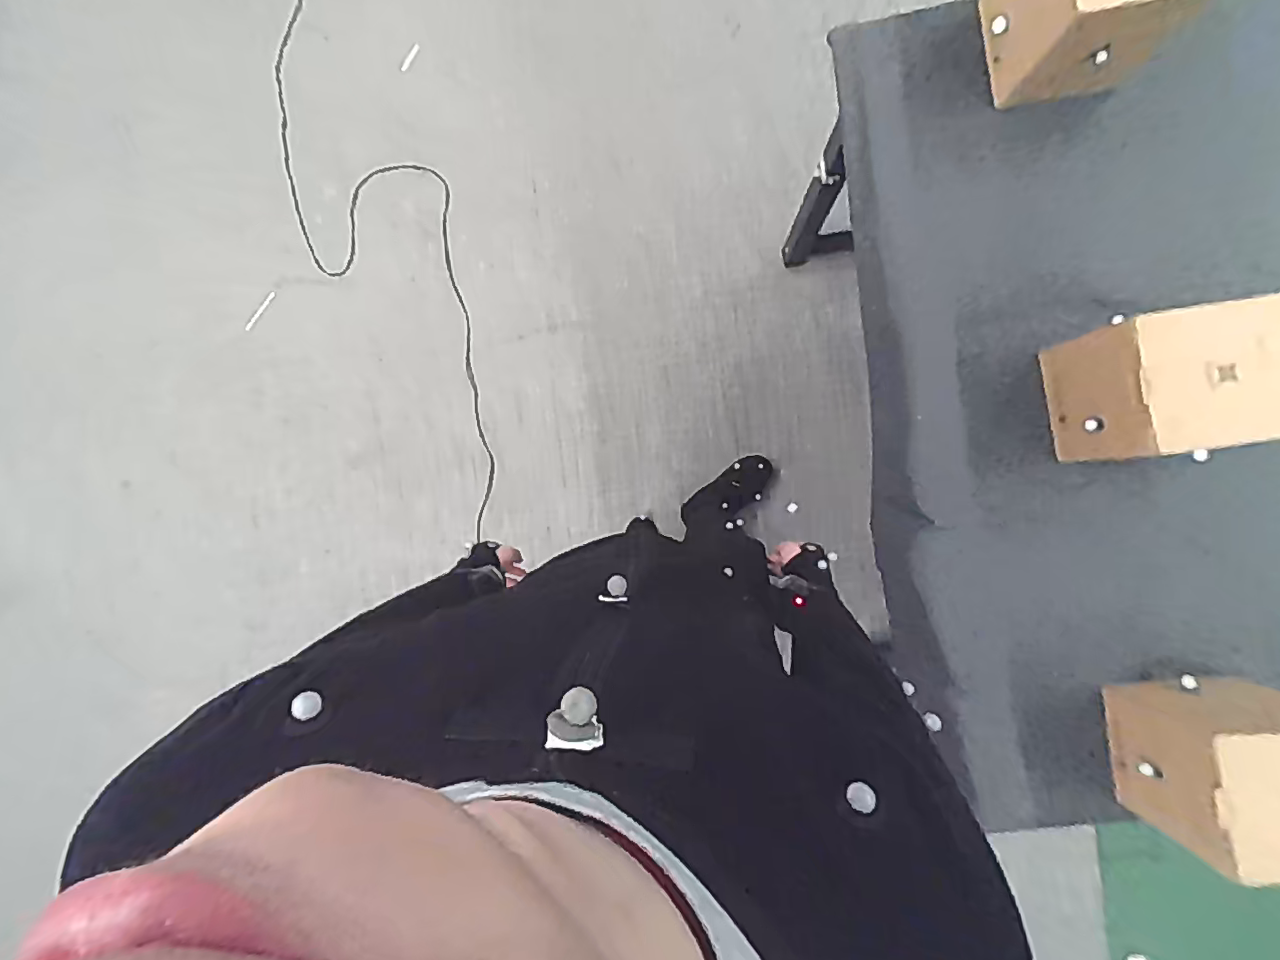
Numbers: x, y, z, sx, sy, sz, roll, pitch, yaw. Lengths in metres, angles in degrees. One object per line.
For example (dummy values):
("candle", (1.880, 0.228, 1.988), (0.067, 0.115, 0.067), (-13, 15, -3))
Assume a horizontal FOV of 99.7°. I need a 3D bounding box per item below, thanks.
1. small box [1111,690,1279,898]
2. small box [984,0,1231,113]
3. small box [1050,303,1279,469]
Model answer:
("small box", (0.732, 0.374, 0.669), (0.179, 0.176, 0.168), (-6, 88, 4))
("small box", (0.590, -0.620, 0.701), (0.179, 0.176, 0.168), (-8, 88, 3))
("small box", (0.665, -0.108, 0.688), (0.179, 0.176, 0.168), (-9, 89, 3))
